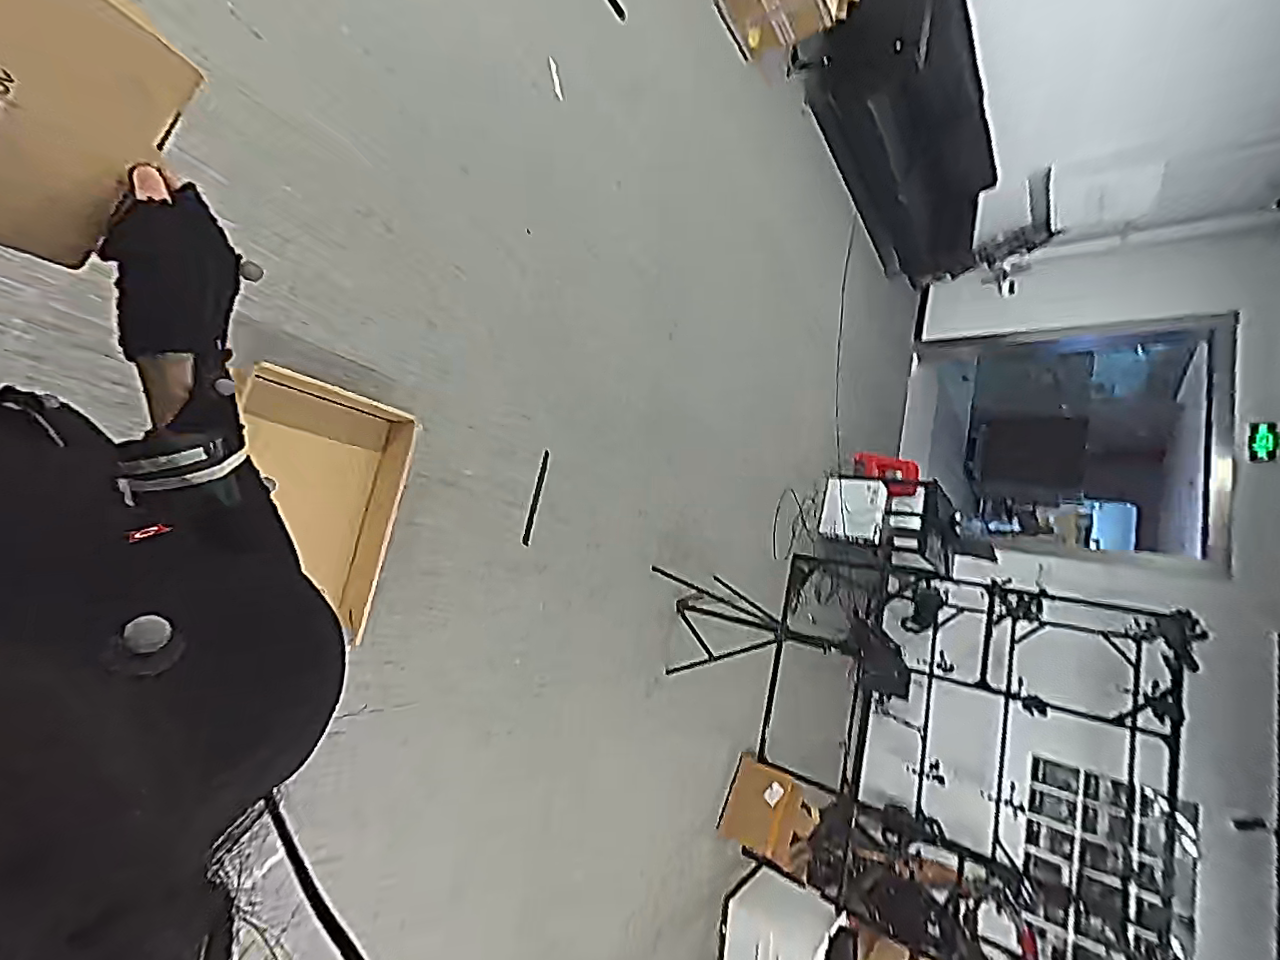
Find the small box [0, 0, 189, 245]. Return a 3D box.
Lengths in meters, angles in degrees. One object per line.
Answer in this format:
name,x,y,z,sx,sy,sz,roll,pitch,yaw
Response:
small box,-0.418,-0.276,0.292,0.168,0.176,0.179,-49,166,7
